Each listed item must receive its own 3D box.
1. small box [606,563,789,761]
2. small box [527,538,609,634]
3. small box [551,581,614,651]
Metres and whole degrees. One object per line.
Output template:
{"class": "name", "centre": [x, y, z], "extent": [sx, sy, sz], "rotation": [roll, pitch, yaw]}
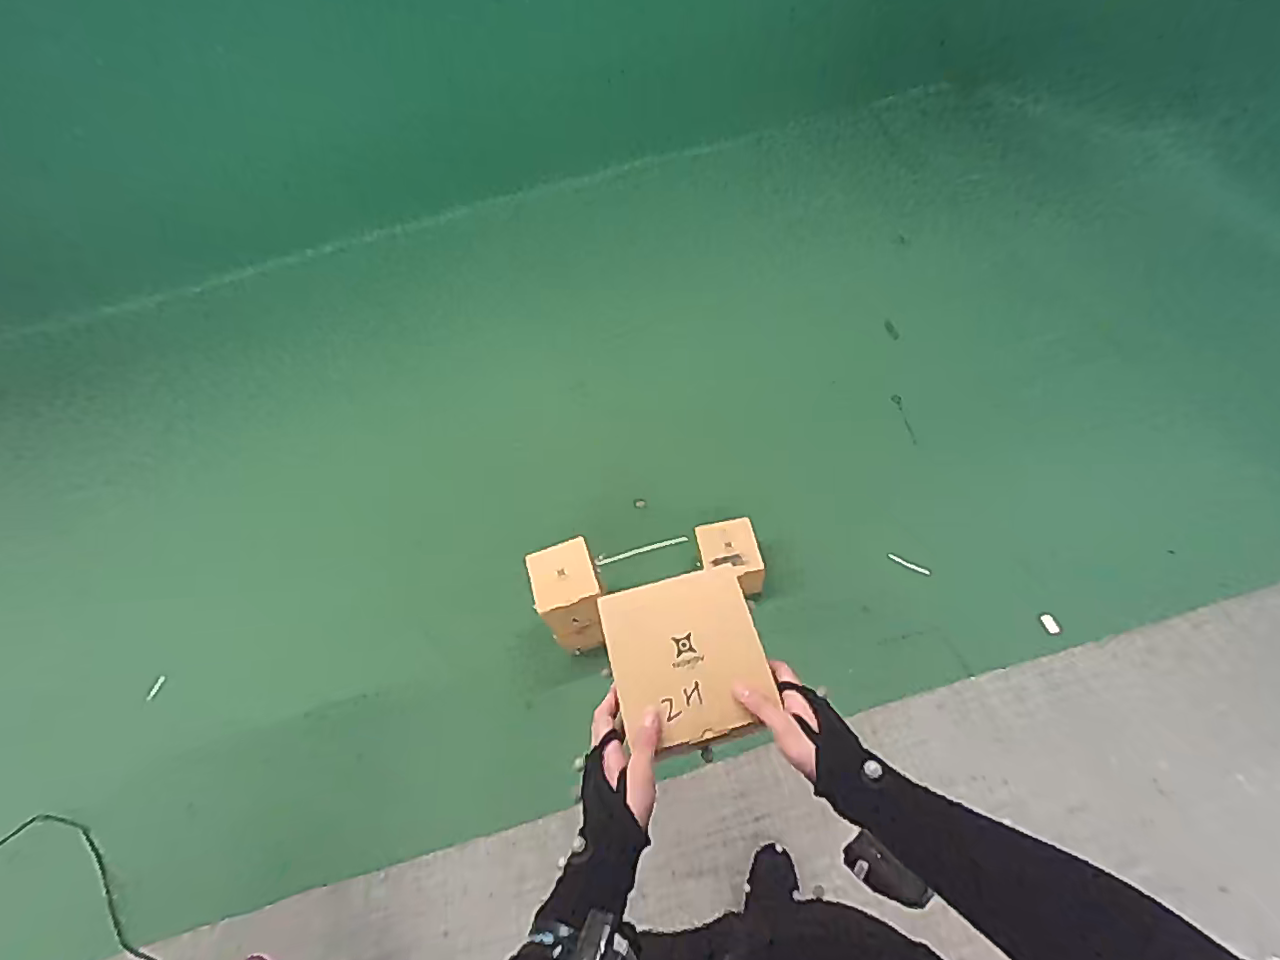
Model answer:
{"class": "small box", "centre": [0.061, 0.226, 0.659], "extent": [0.168, 0.176, 0.179], "rotation": [-14, 60, -3]}
{"class": "small box", "centre": [-0.193, 0.290, 1.469], "extent": [0.168, 0.176, 0.179], "rotation": [-19, 56, -5]}
{"class": "small box", "centre": [-0.172, 0.388, 1.597], "extent": [0.168, 0.176, 0.179], "rotation": [-18, 54, -4]}
